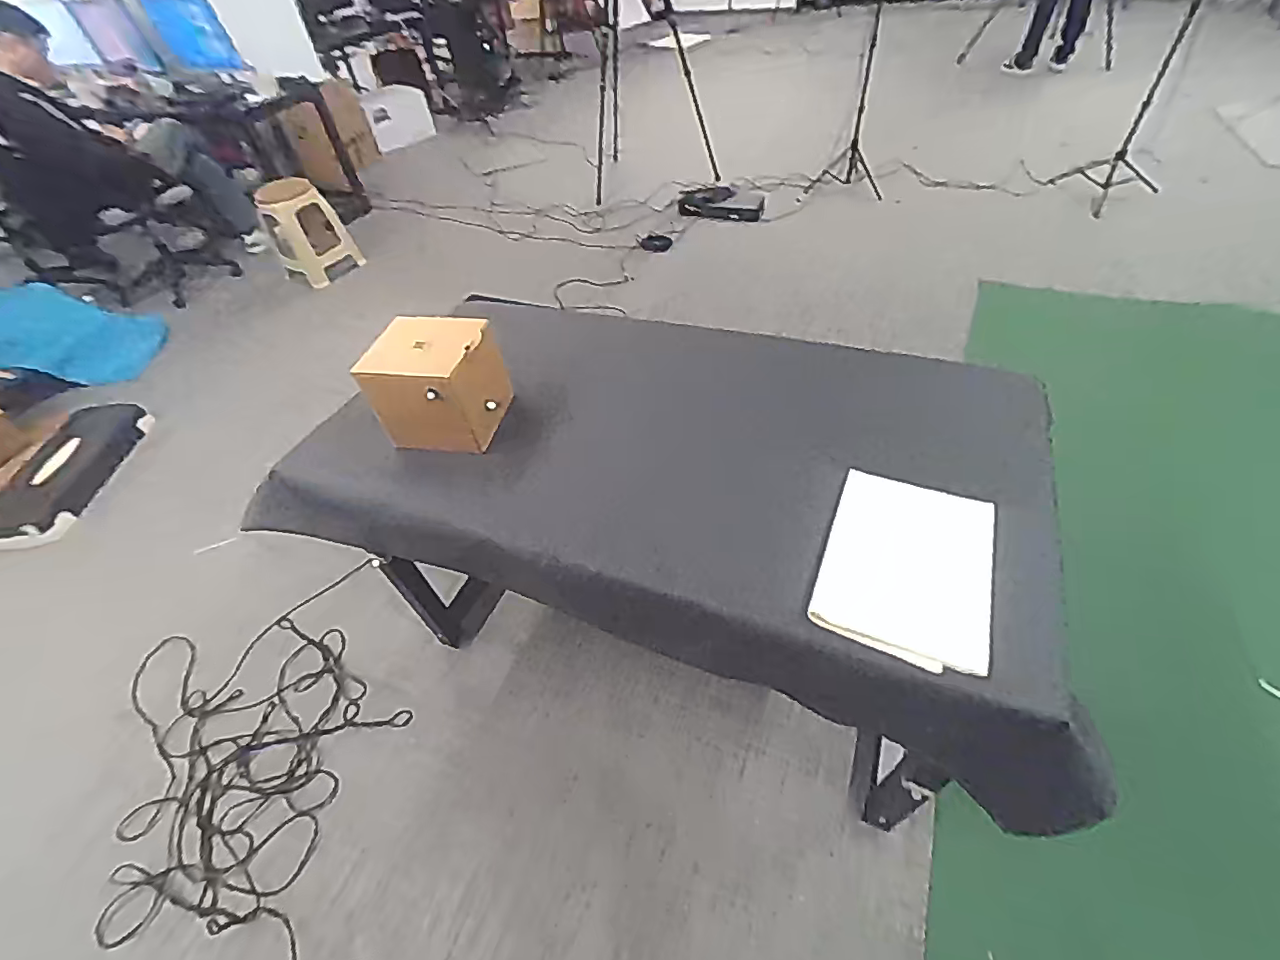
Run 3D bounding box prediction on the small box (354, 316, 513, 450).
[{"bbox_3d":[-0.346,-0.168,0.944,0.179,0.176,0.168,4,48,10],"label":"small box"}]
